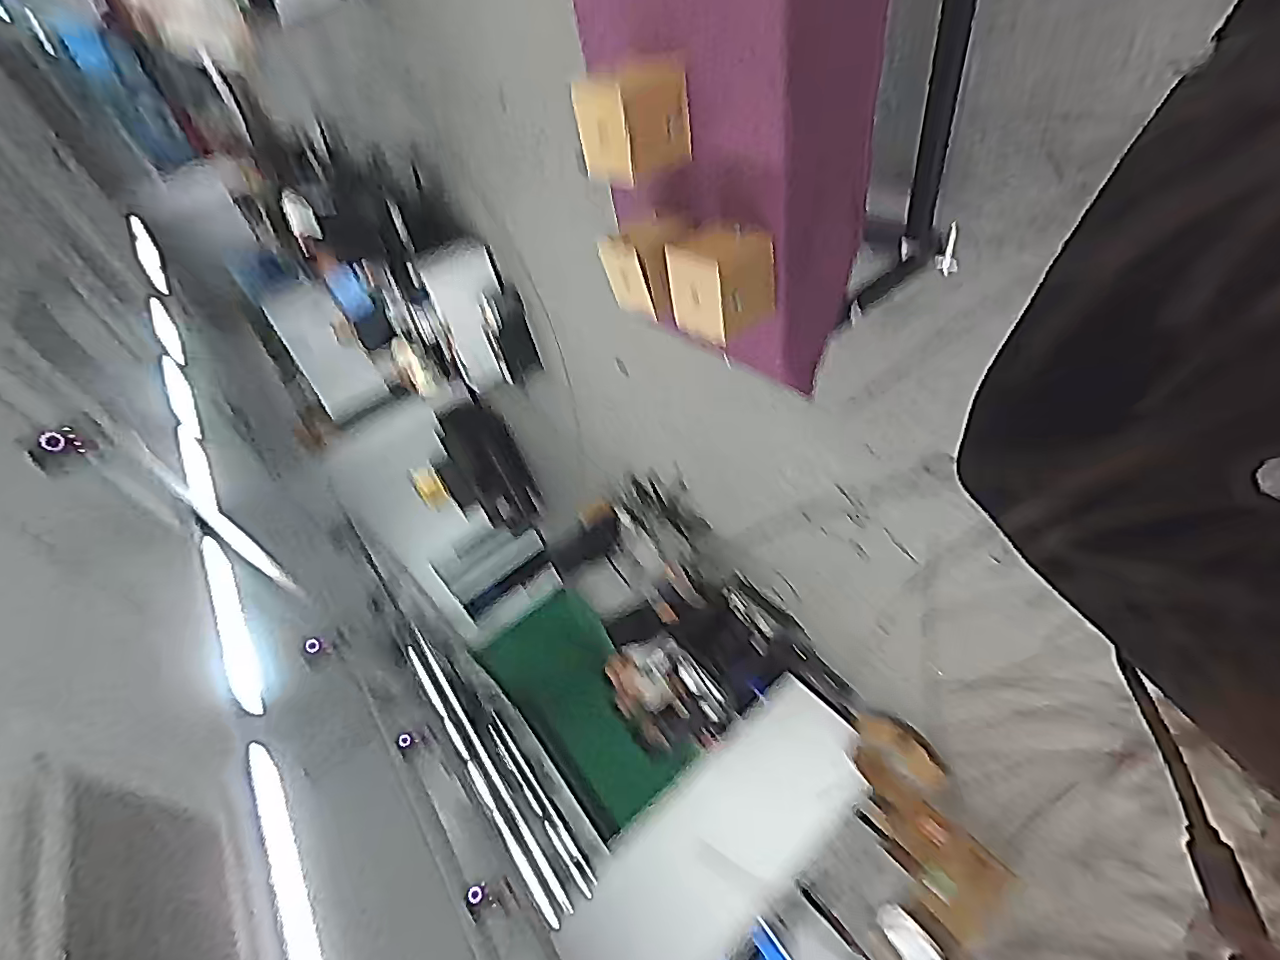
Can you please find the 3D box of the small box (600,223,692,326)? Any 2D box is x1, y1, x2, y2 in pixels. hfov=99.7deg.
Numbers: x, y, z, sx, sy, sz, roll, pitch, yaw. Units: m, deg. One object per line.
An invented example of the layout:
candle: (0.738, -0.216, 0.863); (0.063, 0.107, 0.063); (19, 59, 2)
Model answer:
small box: (0.029, -0.526, 1.376); (0.168, 0.176, 0.179); (34, 151, 41)

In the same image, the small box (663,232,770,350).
small box: (0.178, -0.427, 1.214); (0.168, 0.176, 0.179); (35, 153, 39)
